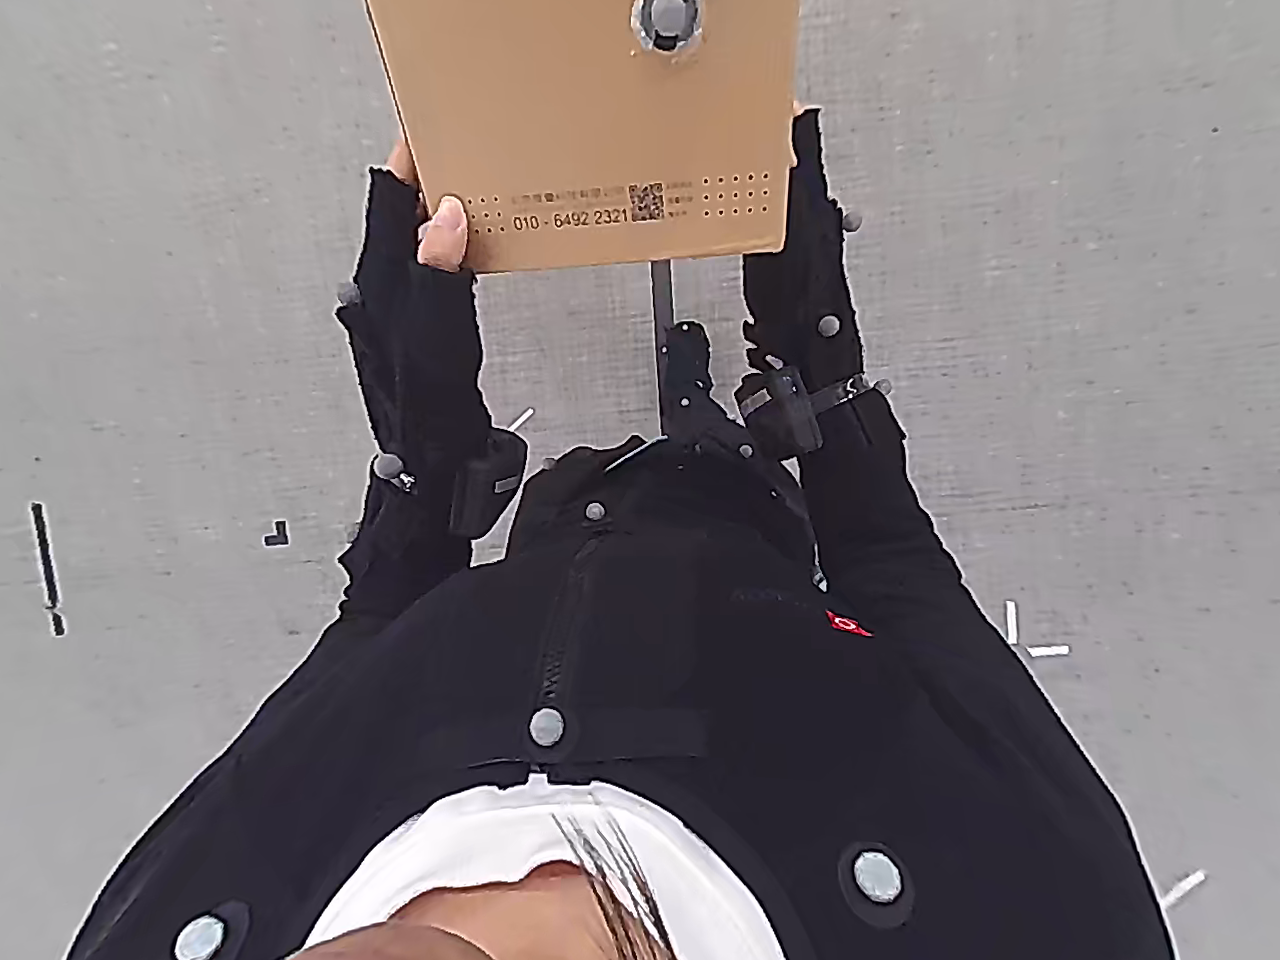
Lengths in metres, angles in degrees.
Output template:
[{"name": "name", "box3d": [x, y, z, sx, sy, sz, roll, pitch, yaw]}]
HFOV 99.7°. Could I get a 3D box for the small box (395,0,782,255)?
[{"name": "small box", "box3d": [-0.011, -0.228, 0.295, 0.168, 0.179, 0.176, 0, 126, 9]}]
